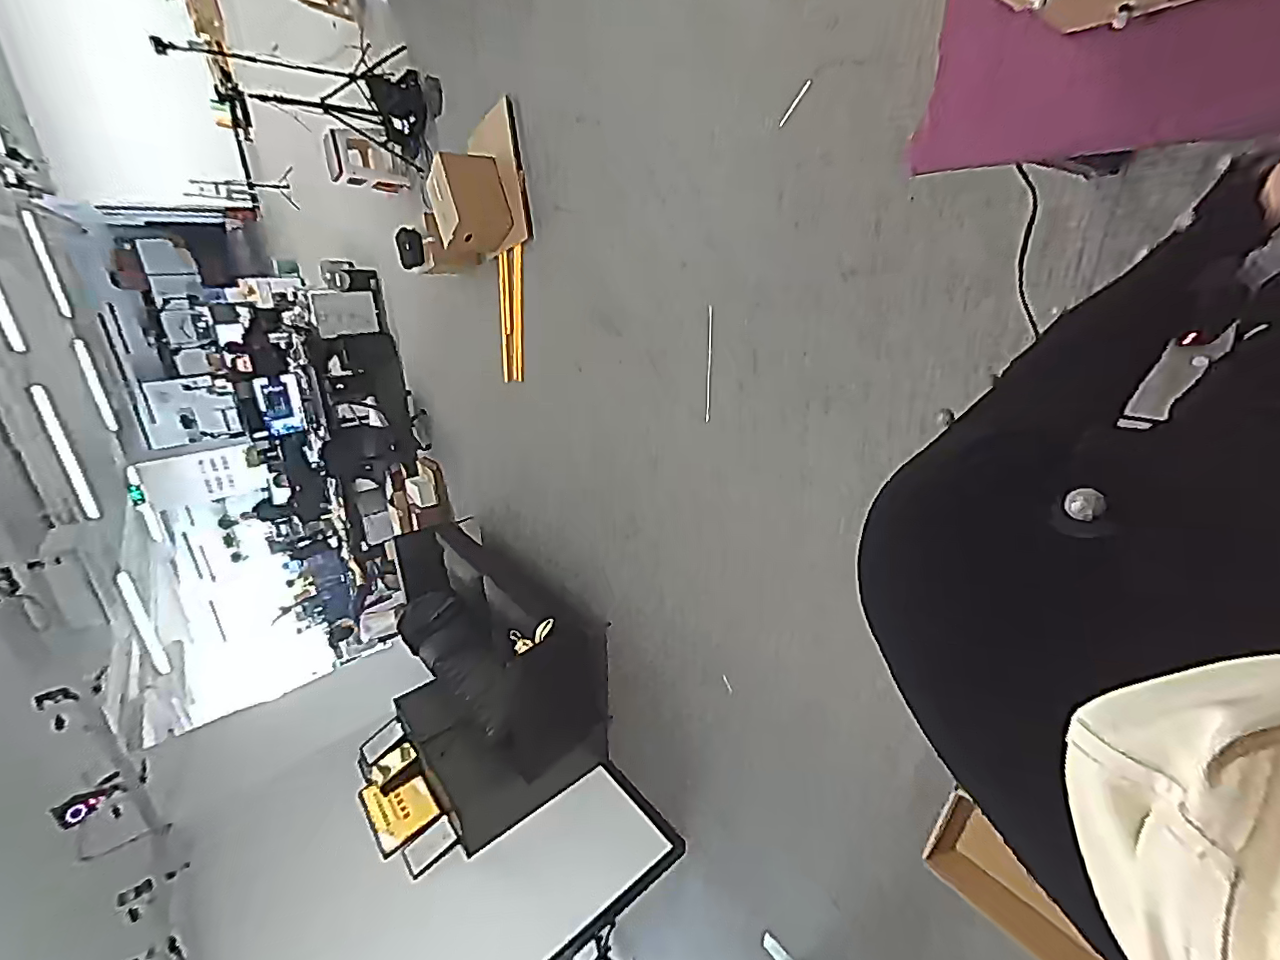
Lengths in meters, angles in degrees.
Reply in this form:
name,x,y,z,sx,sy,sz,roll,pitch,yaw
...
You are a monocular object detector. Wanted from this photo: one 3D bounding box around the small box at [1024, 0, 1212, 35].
name,x,y,z,sx,sy,sz,roll,pitch,yaw
small box,0.506,-0.583,0.529,0.168,0.176,0.179,23,123,47
